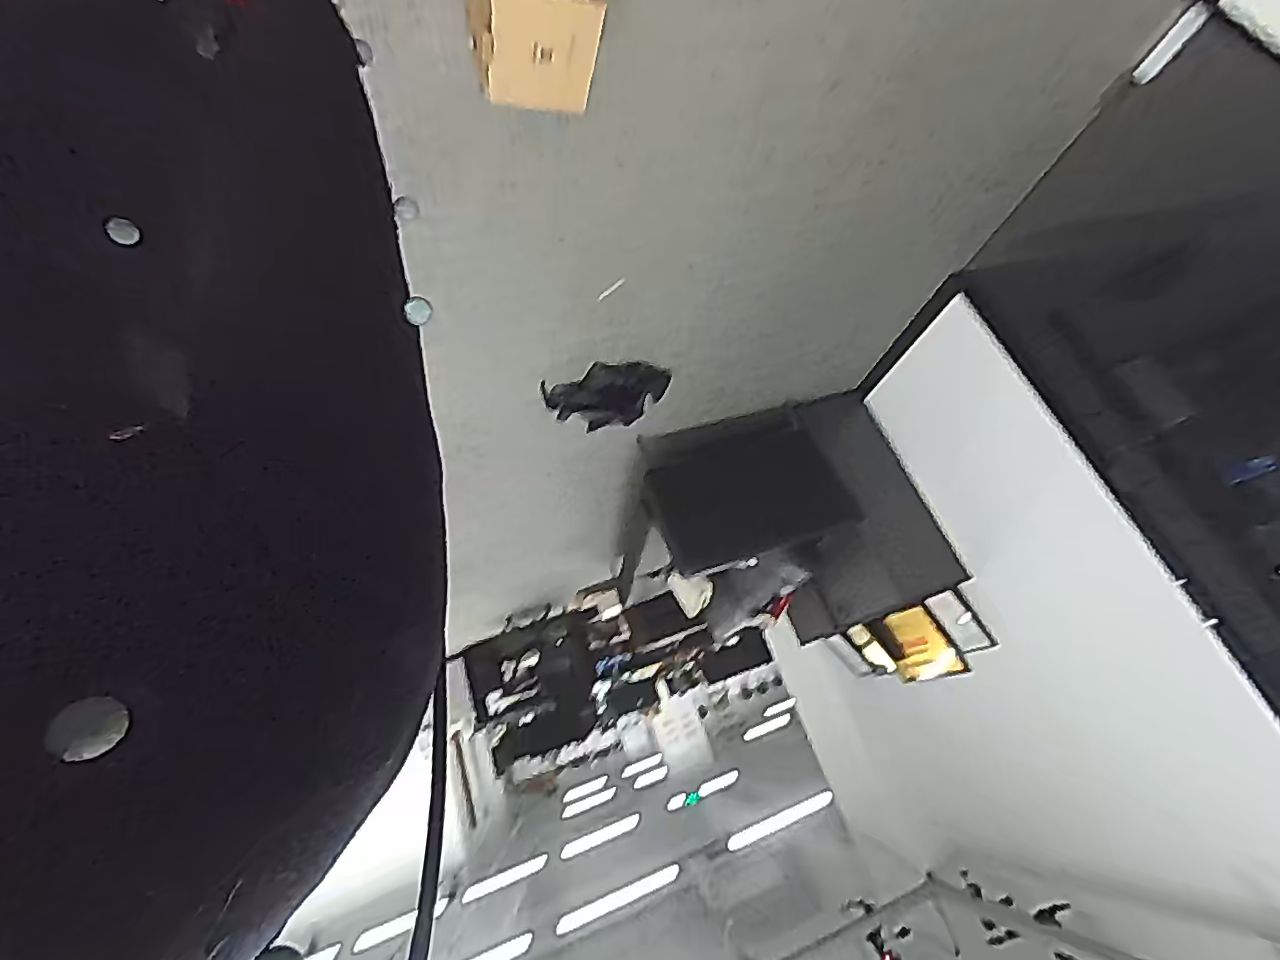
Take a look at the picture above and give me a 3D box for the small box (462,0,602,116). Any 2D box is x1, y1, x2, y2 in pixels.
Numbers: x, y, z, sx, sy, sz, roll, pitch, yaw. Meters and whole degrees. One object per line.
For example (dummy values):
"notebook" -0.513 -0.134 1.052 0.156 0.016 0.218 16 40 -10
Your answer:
"small box" -0.186 -0.736 0.881 0.179 0.176 0.168 -12 158 -25
